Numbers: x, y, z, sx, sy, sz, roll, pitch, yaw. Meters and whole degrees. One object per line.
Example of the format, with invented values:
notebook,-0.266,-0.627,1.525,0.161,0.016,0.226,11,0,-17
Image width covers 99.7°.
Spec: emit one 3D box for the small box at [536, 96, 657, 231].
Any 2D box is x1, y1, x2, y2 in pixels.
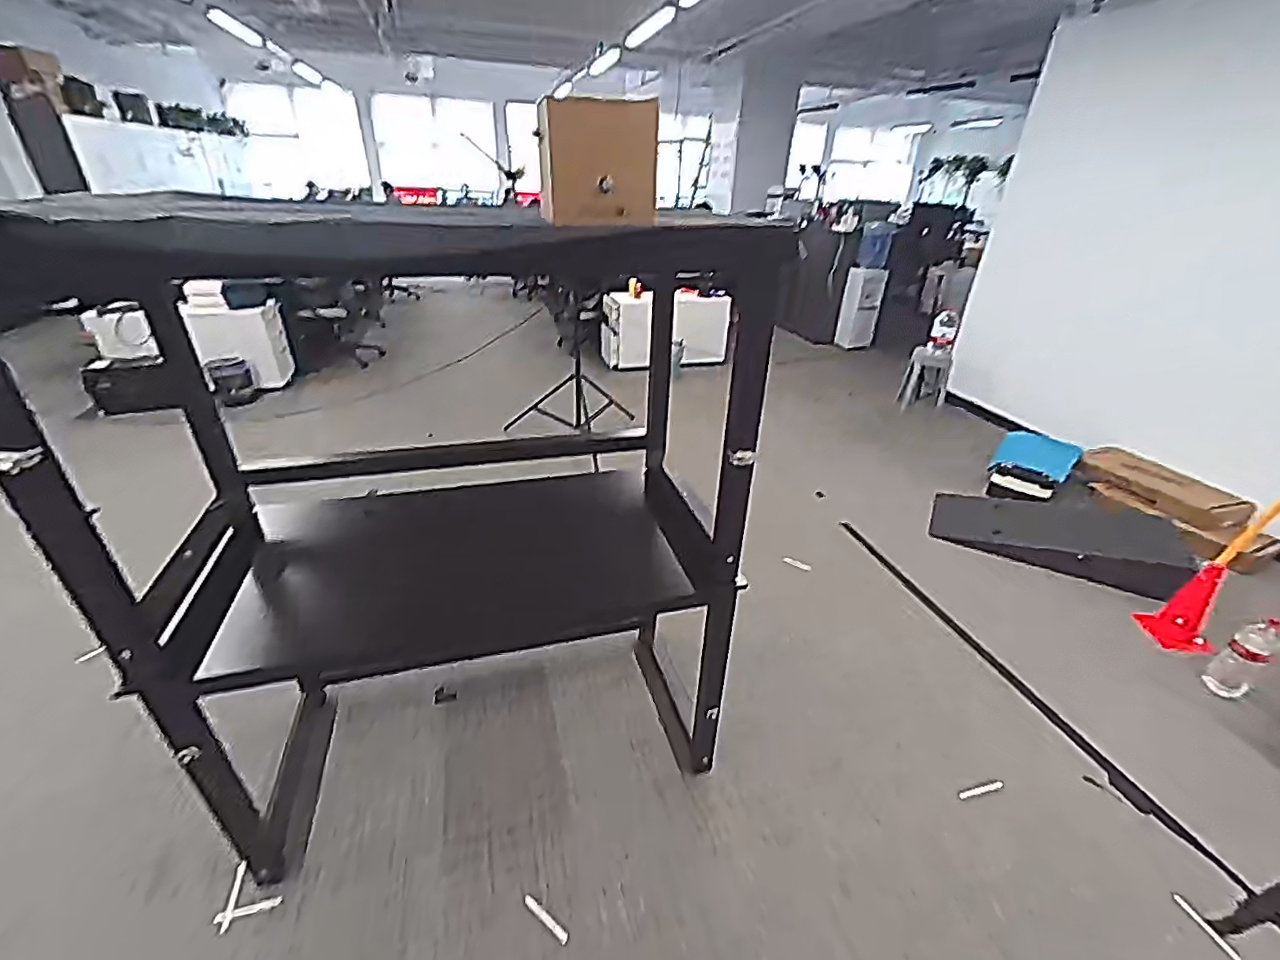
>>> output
small box,-0.075,-0.505,0.877,0.168,0.176,0.179,-7,30,-13
